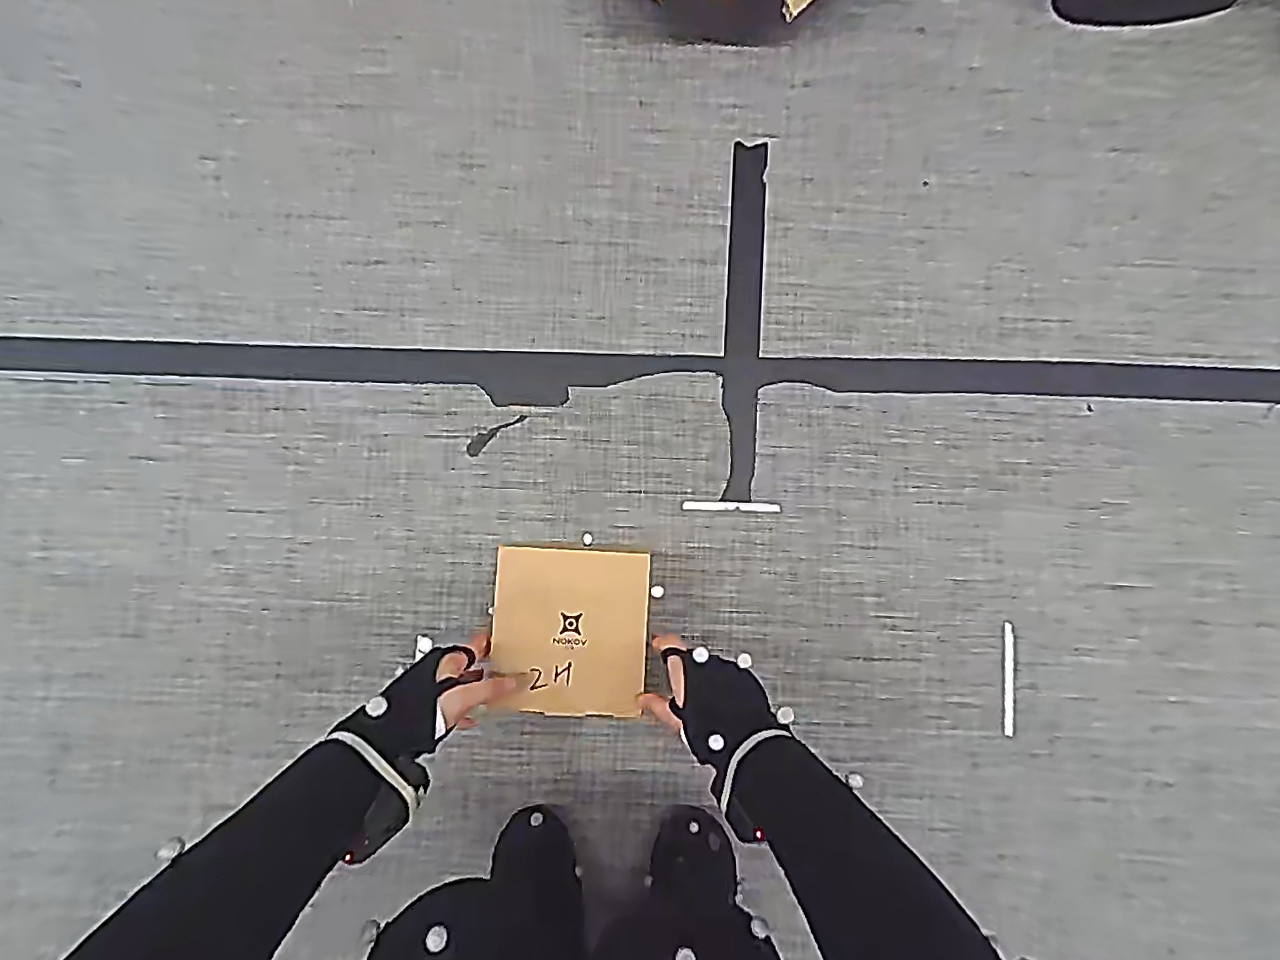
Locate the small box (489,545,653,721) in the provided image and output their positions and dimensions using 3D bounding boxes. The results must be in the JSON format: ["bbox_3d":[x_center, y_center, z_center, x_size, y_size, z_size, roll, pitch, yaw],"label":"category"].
[{"bbox_3d":[-0.074,0.171,0.656,0.168,0.176,0.179,3,85,0],"label":"small box"}]
